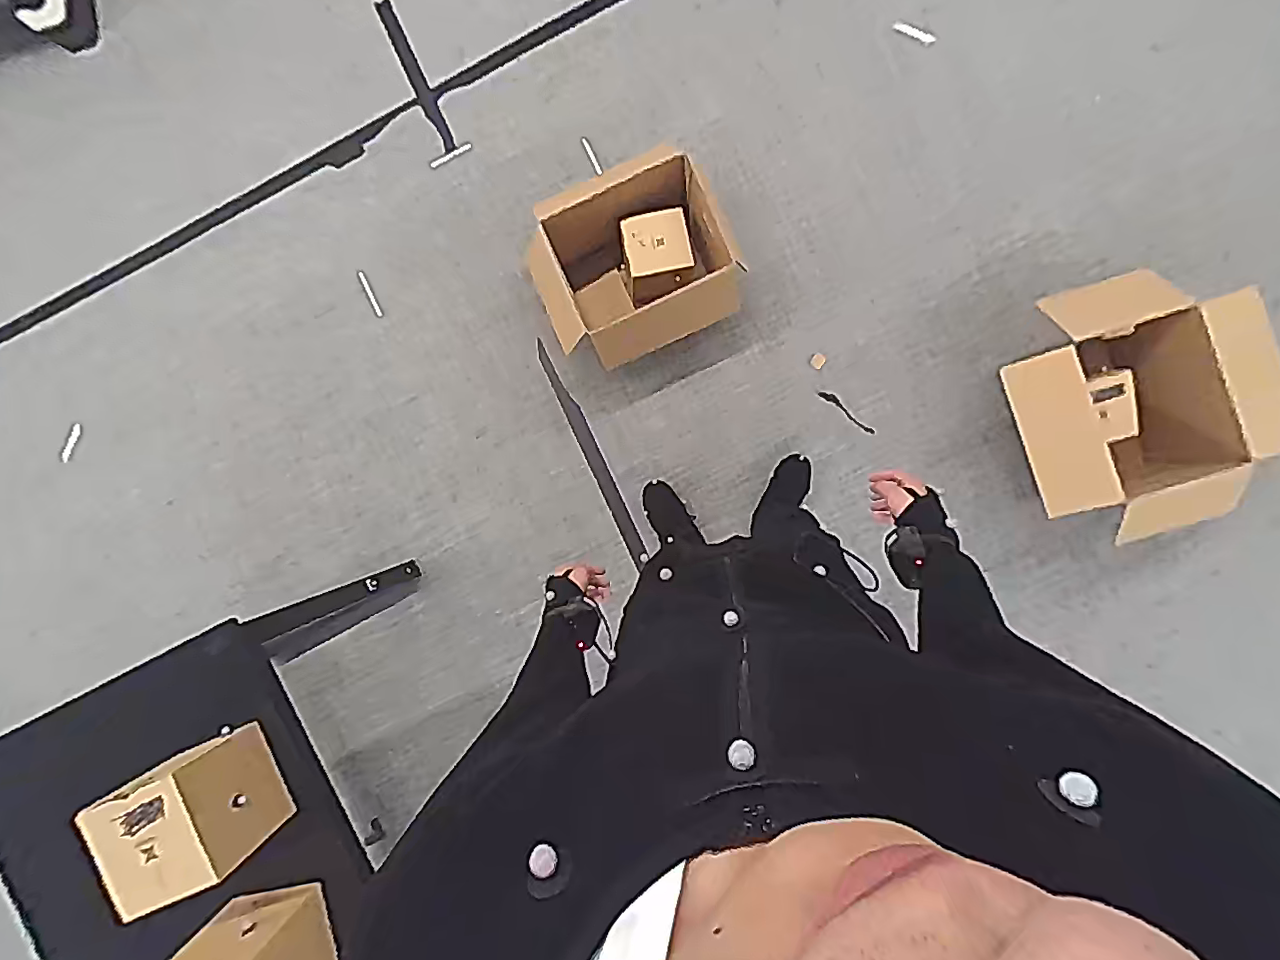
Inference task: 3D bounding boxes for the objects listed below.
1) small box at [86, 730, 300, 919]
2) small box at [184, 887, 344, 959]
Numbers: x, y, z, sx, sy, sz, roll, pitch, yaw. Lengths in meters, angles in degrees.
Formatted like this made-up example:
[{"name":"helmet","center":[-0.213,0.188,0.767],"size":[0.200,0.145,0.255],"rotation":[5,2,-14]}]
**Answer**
[{"name":"small box","center":[-0.702,0.534,0.870],"size":[0.168,0.176,0.179],"rotation":[-25,91,4]},{"name":"small box","center":[-0.613,0.799,0.872],"size":[0.168,0.176,0.179],"rotation":[-13,91,4]}]
